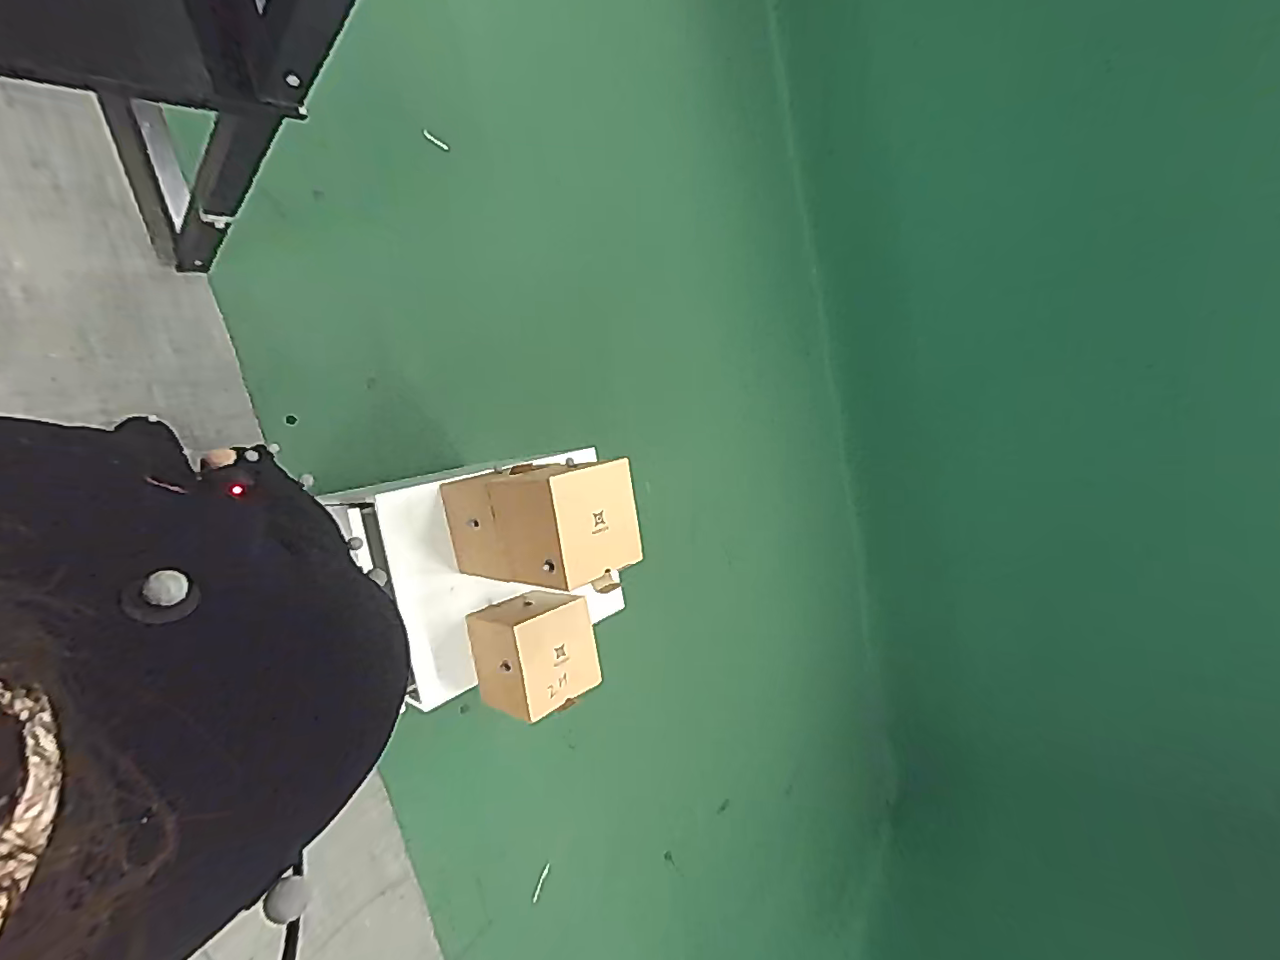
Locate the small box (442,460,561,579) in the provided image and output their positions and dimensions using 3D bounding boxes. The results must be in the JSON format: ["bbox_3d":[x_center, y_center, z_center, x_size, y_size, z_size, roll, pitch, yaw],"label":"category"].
[{"bbox_3d":[-0.241,0.068,0.995,0.168,0.176,0.179,-19,102,-45],"label":"small box"}]

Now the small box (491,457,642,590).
[{"bbox_3d":[-0.122,0.064,0.883,0.168,0.176,0.179,-17,102,-46],"label":"small box"}]

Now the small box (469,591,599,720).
[{"bbox_3d":[-0.203,0.315,1.018,0.168,0.176,0.179,-13,97,-45],"label":"small box"}]
